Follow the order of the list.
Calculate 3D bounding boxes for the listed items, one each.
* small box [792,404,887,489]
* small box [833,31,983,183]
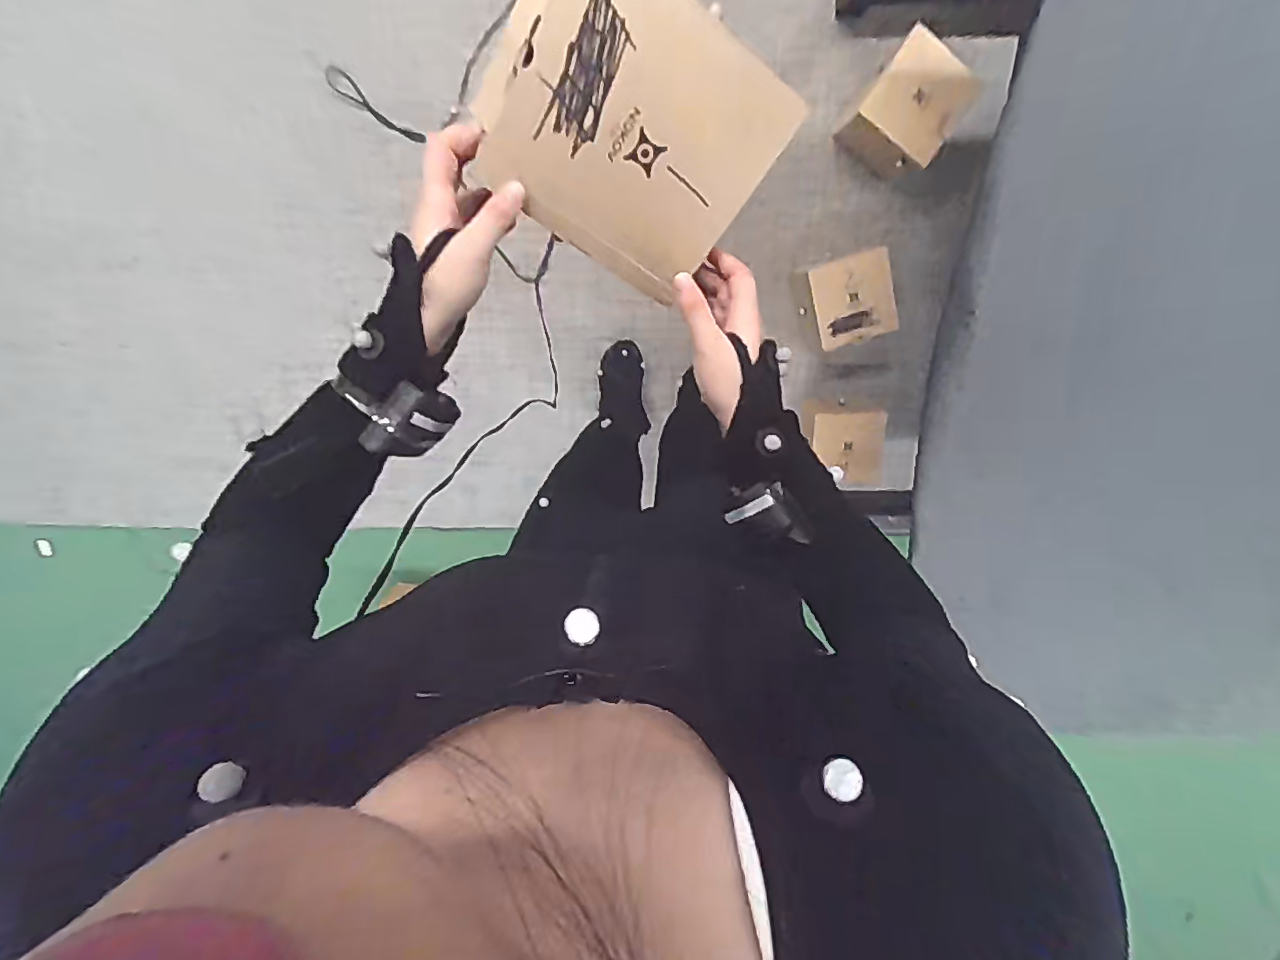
[{"bbox_3d":[0.477,-0.087,1.319,0.168,0.176,0.179,-1,110,1],"label":"small box"},{"bbox_3d":[0.525,-0.731,1.088,0.179,0.176,0.168,32,107,-11],"label":"small box"}]
